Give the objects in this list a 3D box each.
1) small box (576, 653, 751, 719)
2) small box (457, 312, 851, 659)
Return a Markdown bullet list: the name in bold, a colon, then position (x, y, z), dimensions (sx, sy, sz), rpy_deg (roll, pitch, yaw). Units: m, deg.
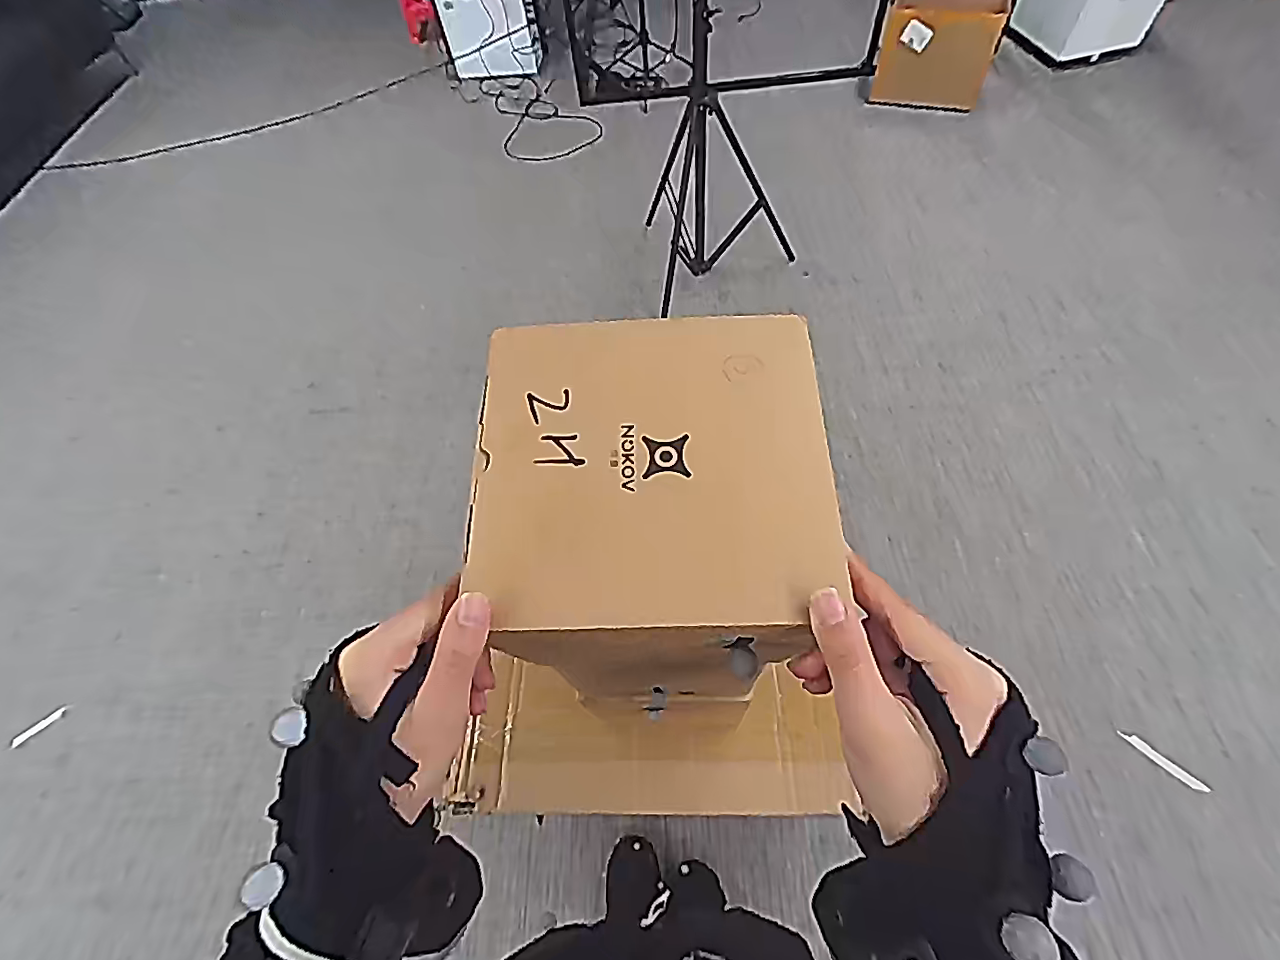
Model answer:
- **small box**: position (0.030, 0.184, 0.638), dimensions (0.179, 0.176, 0.168), rpy_deg (-2, 59, 4)
- **small box**: position (0.009, 0.017, 0.340), dimensions (0.179, 0.176, 0.168), rpy_deg (-2, 65, 3)
